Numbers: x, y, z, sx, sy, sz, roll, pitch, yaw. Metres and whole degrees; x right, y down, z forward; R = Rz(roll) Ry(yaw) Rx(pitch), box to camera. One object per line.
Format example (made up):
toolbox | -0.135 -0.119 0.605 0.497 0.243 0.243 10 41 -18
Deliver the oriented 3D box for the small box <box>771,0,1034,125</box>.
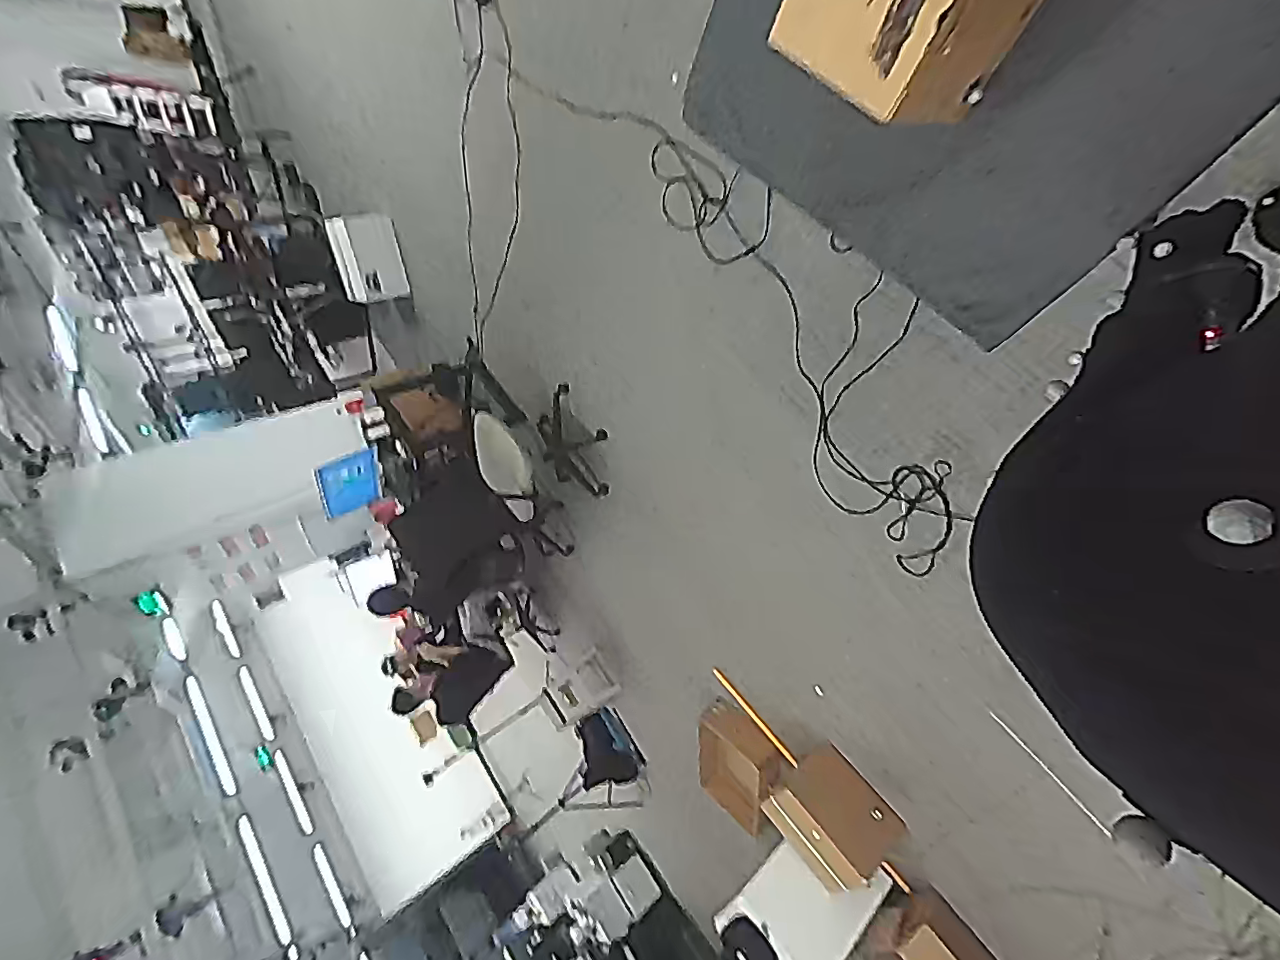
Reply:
small box | 0.276 -0.490 0.544 0.179 0.176 0.168 51 145 20
